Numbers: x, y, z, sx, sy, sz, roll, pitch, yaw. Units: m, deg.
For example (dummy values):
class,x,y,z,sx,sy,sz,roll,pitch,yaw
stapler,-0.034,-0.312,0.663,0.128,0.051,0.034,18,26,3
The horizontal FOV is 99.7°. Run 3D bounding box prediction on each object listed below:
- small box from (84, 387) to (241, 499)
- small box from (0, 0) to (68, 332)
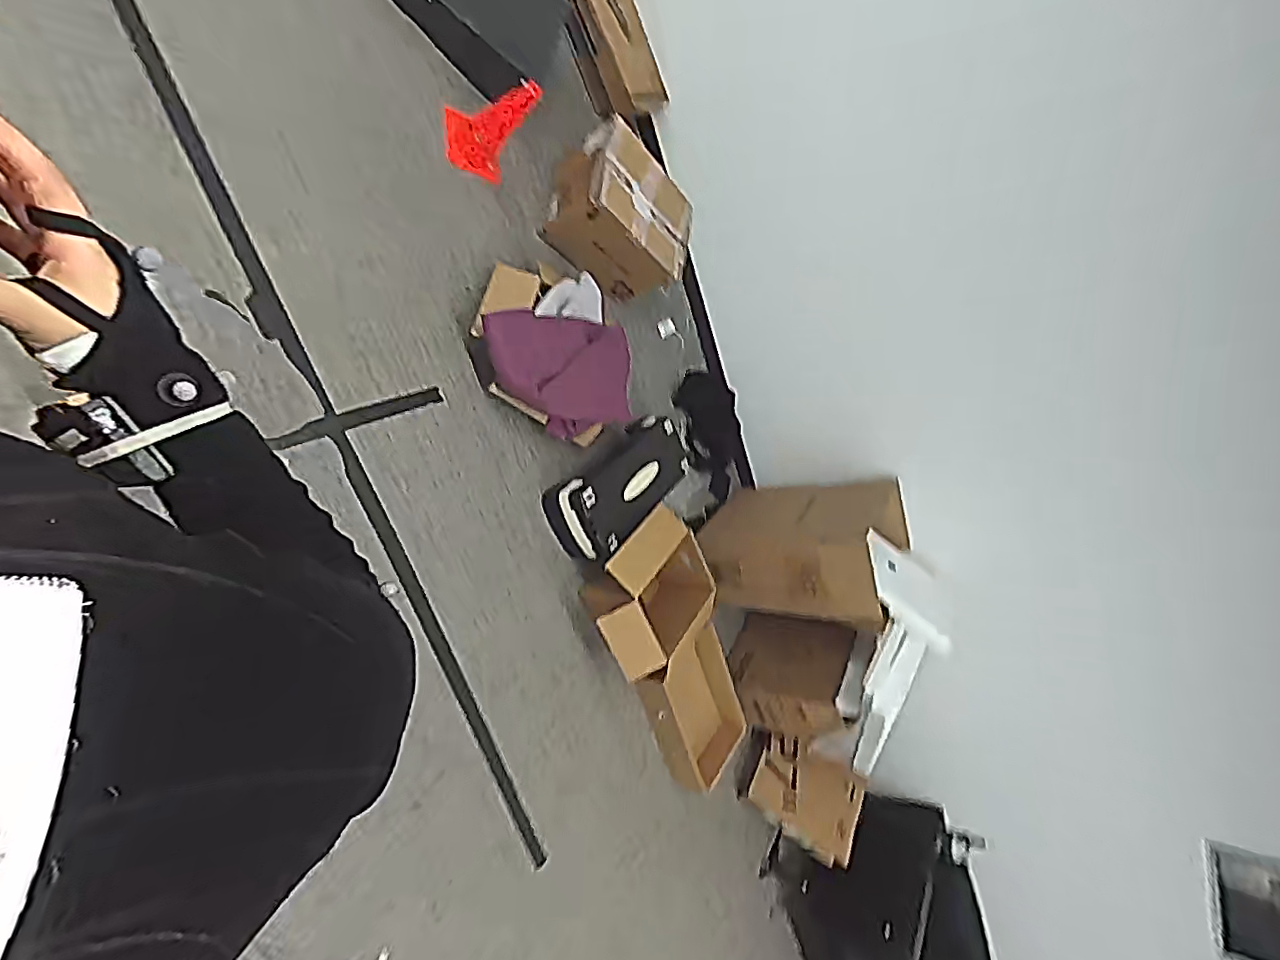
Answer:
class,x,y,z,sx,sy,sz,roll,pitch,yaw
small box,-0.944,-0.071,1.070,0.179,0.176,0.168,-34,110,-45
small box,-0.341,-0.158,0.195,0.168,0.176,0.179,-8,101,-50
